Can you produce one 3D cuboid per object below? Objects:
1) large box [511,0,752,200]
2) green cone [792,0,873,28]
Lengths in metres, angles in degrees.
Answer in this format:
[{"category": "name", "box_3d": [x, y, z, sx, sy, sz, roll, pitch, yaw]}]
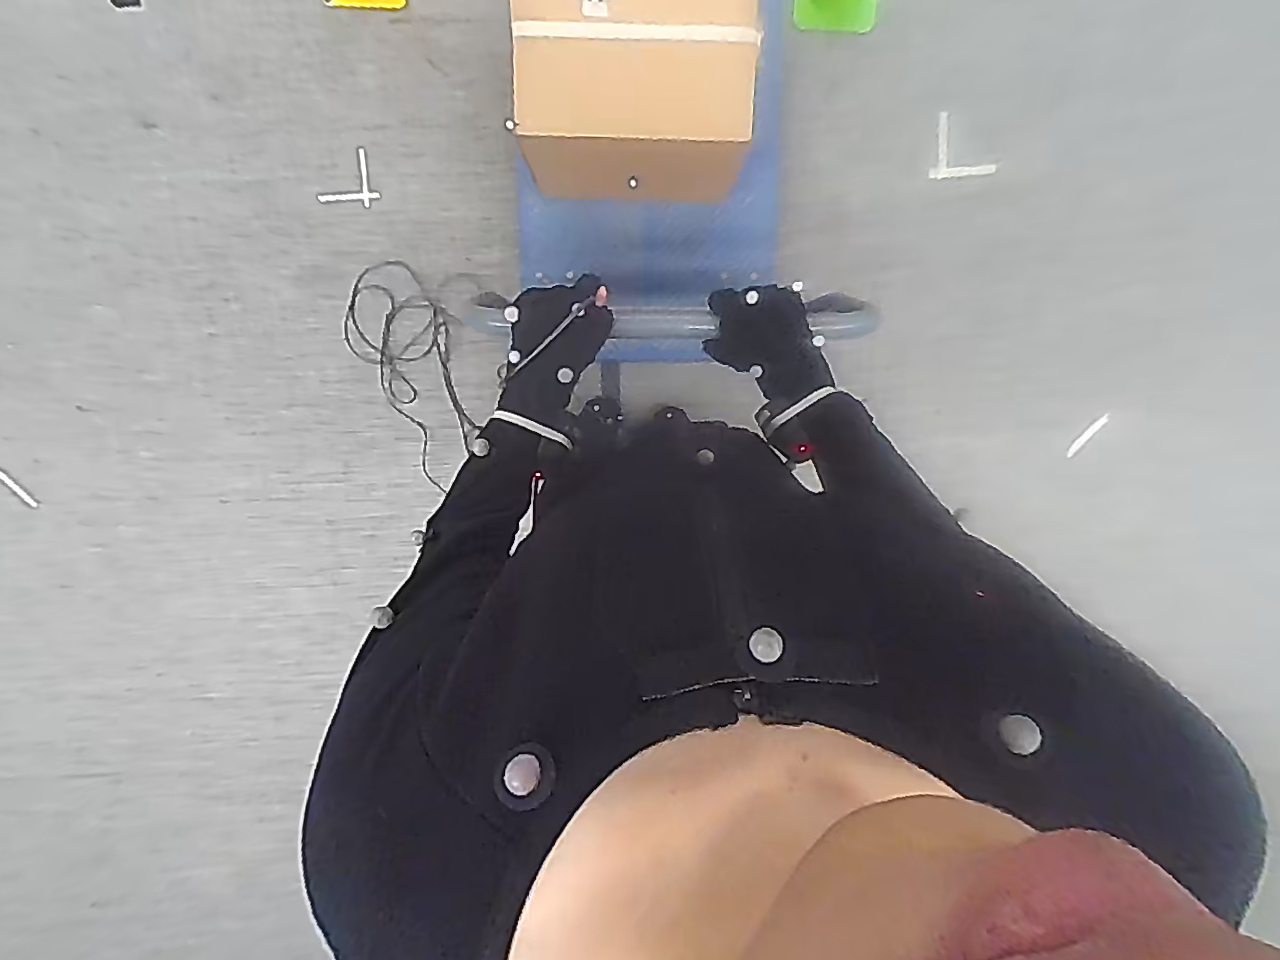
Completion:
[{"category": "large box", "box_3d": [-0.014, -0.754, 1.042, 0.408, 0.320, 0.320, 1, 99, -1]}, {"category": "green cone", "box_3d": [0.477, -1.182, 1.137, 0.202, 0.368, 0.200, 1, 98, -3]}]
